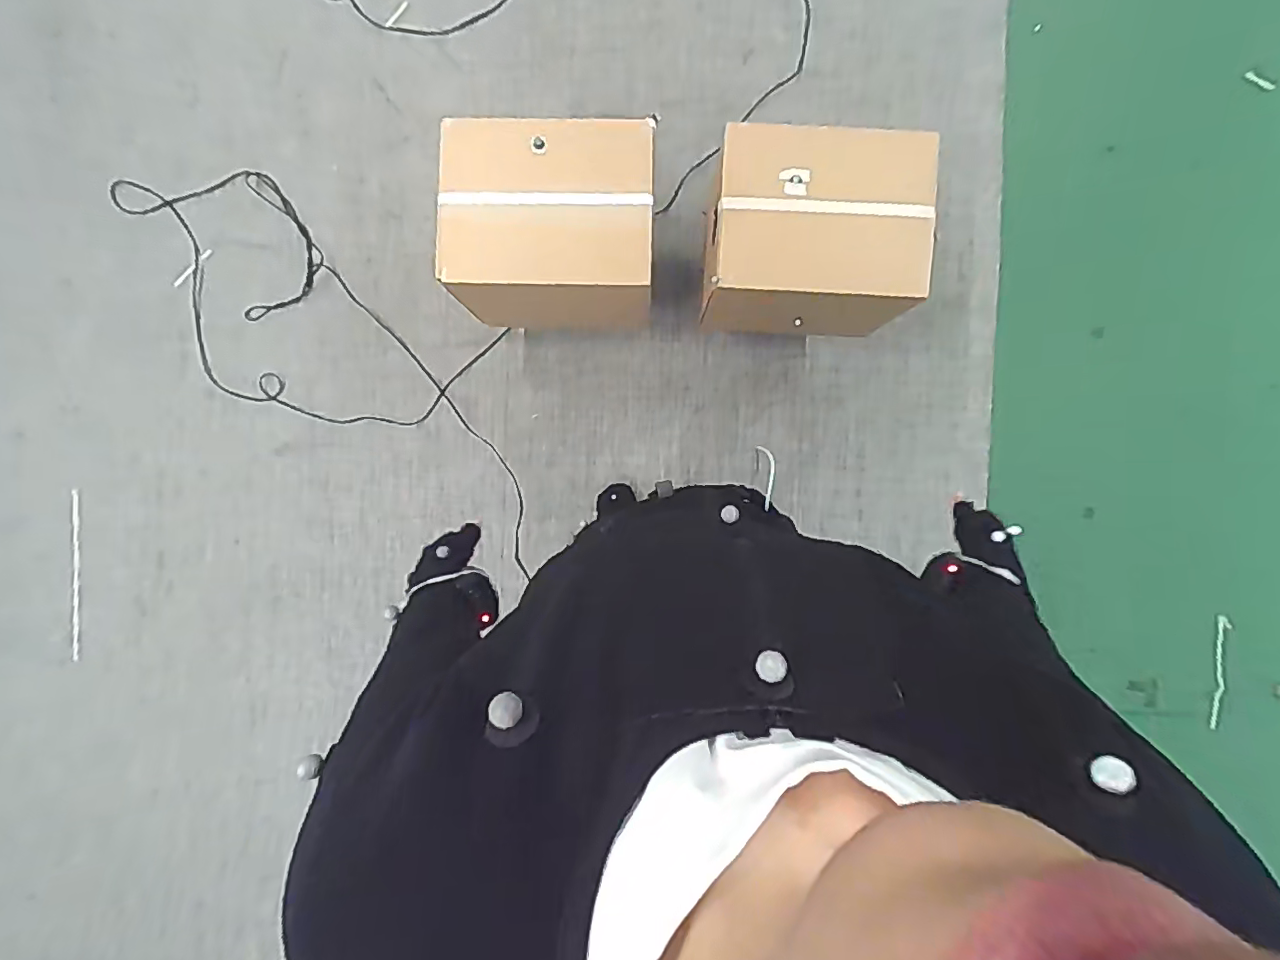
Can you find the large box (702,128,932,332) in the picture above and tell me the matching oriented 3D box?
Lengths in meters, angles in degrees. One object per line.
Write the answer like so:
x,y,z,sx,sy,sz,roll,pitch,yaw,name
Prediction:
0.355,-0.516,1.181,0.408,0.320,0.320,3,91,1,large box
